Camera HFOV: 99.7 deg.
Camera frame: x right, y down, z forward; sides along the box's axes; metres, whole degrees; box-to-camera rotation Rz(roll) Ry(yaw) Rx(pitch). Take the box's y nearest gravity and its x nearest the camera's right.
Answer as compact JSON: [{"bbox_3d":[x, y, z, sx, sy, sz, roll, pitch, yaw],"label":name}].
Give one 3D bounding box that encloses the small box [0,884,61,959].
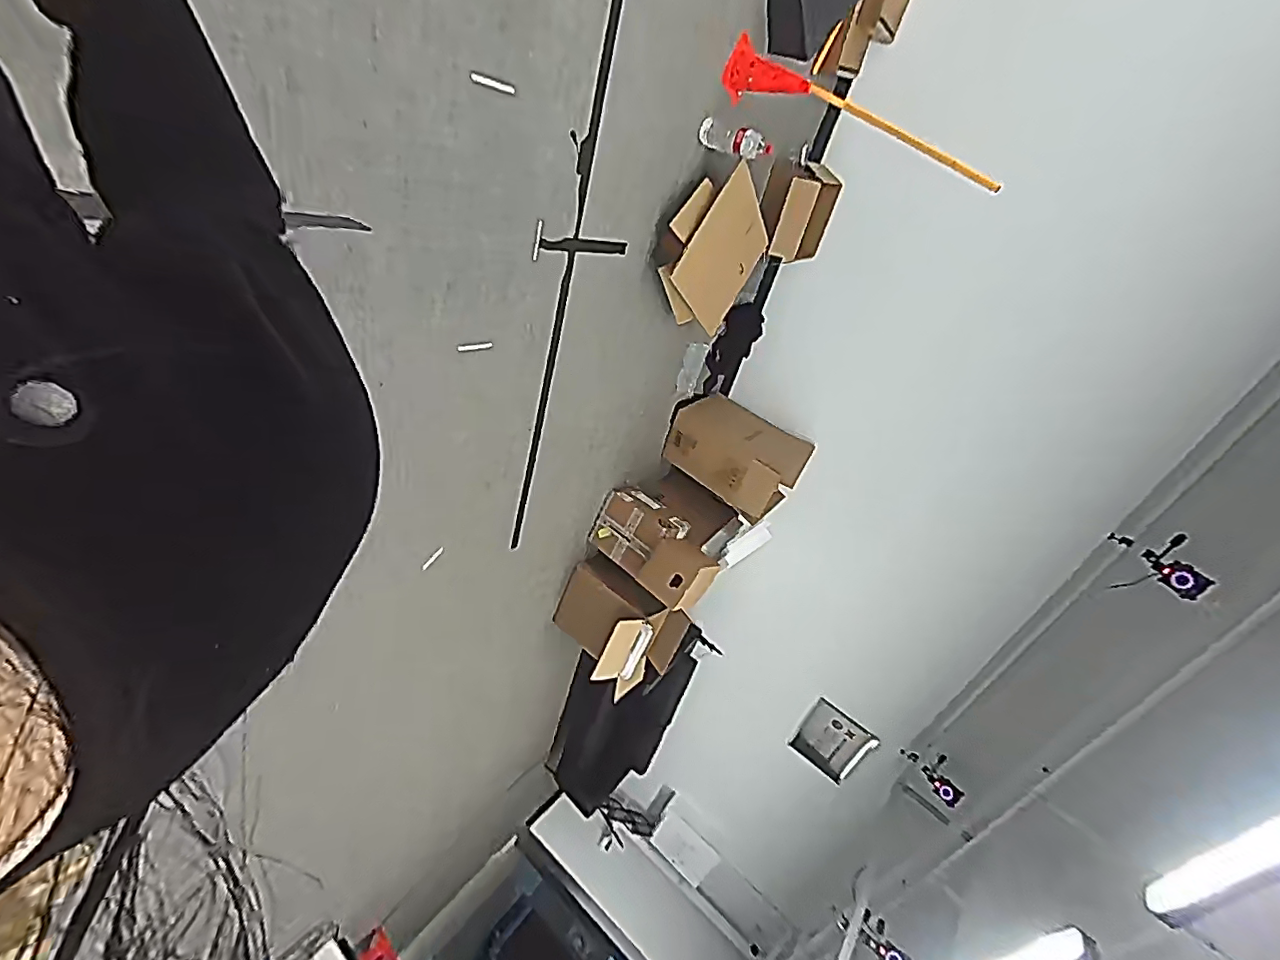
[{"bbox_3d":[-1.518,1.103,1.258,0.179,0.176,0.168,-27,141,-48],"label":"small box"}]
